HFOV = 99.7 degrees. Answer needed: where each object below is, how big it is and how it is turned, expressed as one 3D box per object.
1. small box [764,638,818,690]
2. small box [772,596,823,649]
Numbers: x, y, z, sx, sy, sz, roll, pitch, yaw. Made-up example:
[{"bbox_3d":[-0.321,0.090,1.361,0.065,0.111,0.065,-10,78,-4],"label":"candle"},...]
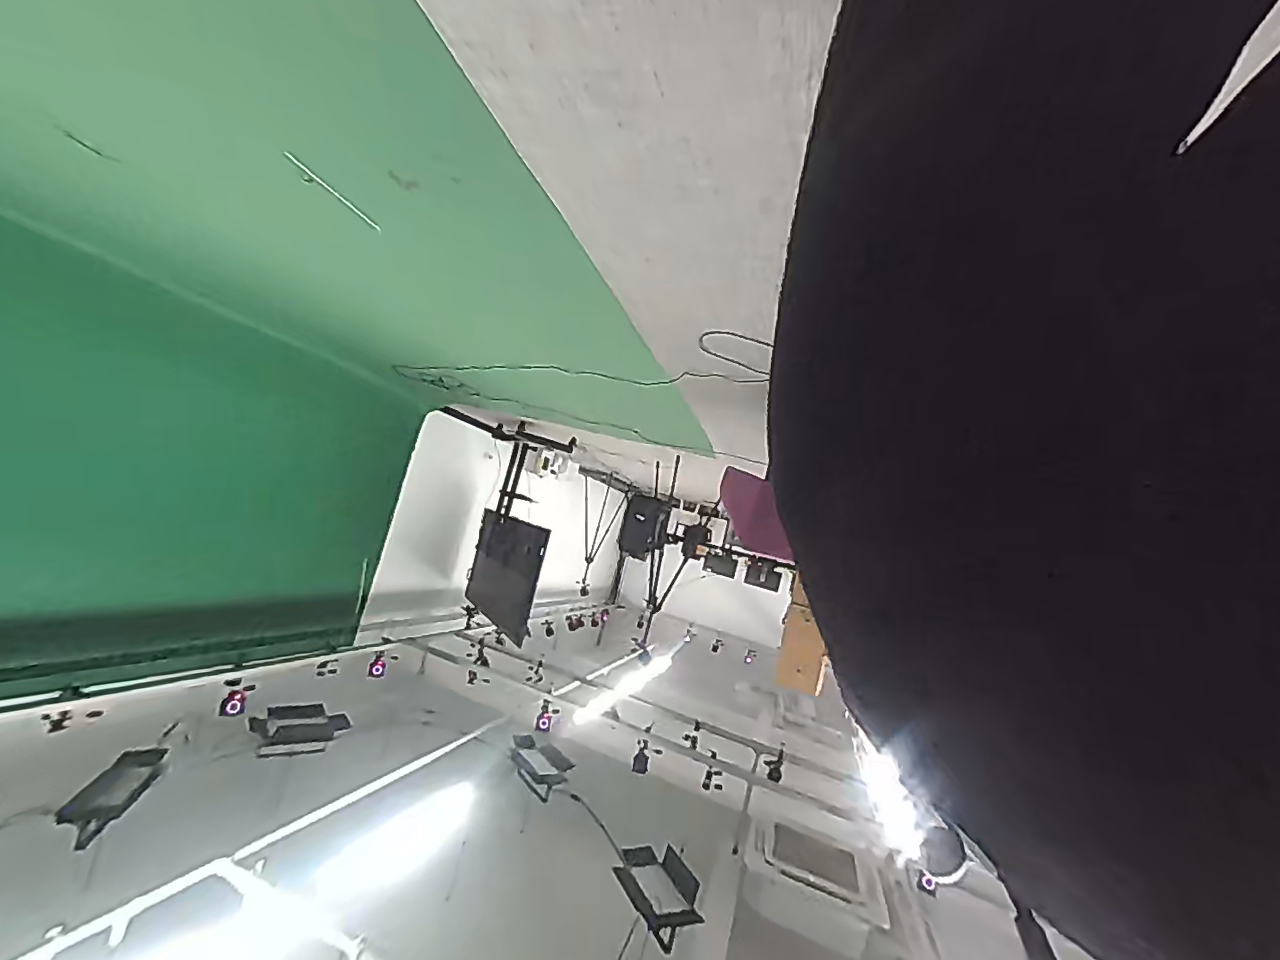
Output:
[{"bbox_3d":[0.634,0.752,2.257,0.179,0.176,0.168,12,176,25],"label":"small box"},{"bbox_3d":[0.663,0.590,2.262,0.168,0.176,0.179,12,175,23],"label":"small box"}]
